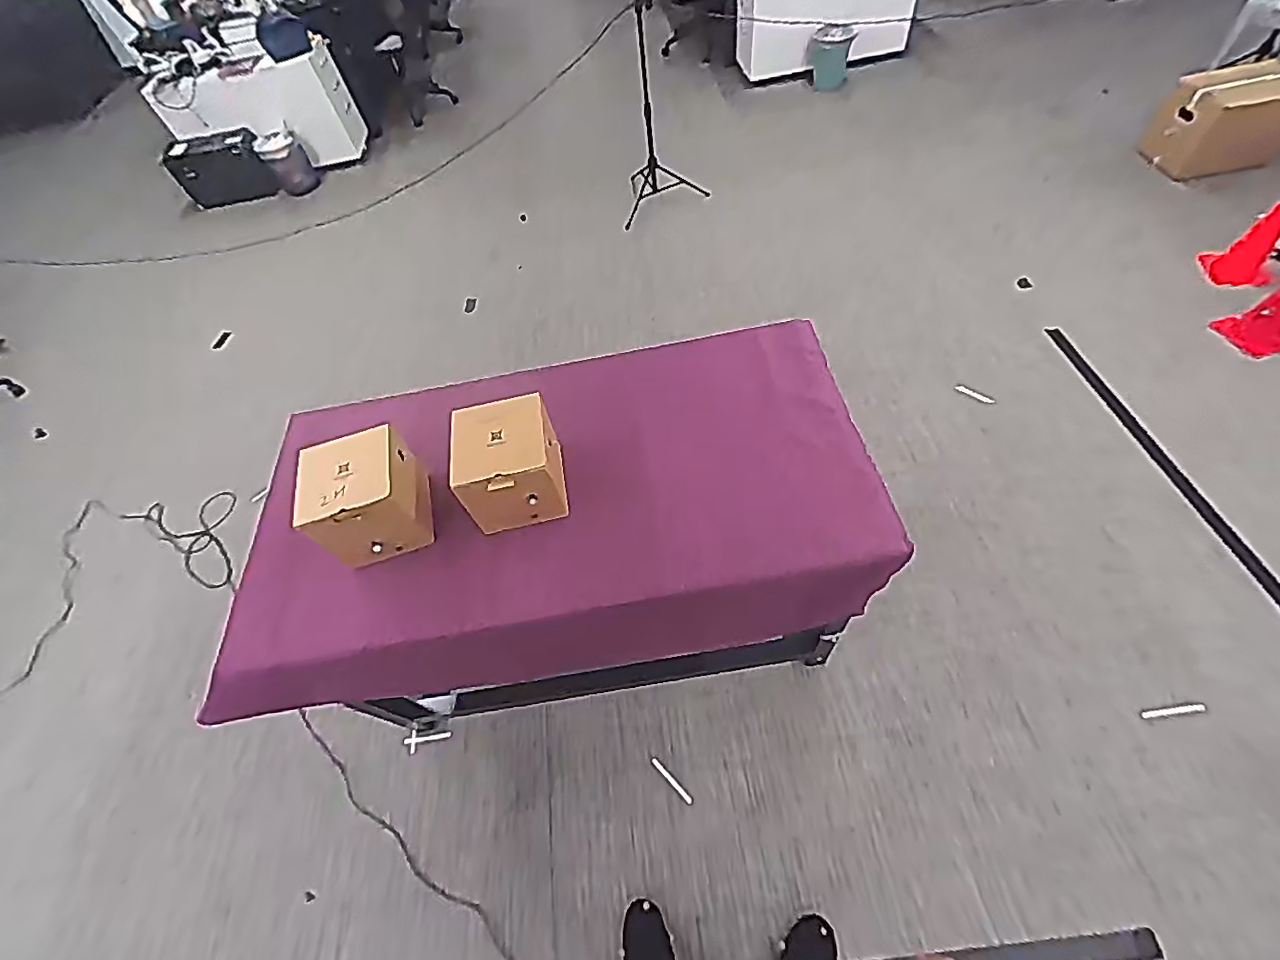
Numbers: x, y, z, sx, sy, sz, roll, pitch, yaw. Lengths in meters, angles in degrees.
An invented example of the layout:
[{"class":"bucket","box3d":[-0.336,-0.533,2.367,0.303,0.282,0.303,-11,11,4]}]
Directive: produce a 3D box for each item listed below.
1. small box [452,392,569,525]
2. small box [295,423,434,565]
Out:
[{"class":"small box","box3d":[-0.233,-0.031,1.001,0.168,0.176,0.179,-11,55,0]},{"class":"small box","box3d":[-0.497,0.029,0.998,0.168,0.176,0.179,-18,56,-3]}]
